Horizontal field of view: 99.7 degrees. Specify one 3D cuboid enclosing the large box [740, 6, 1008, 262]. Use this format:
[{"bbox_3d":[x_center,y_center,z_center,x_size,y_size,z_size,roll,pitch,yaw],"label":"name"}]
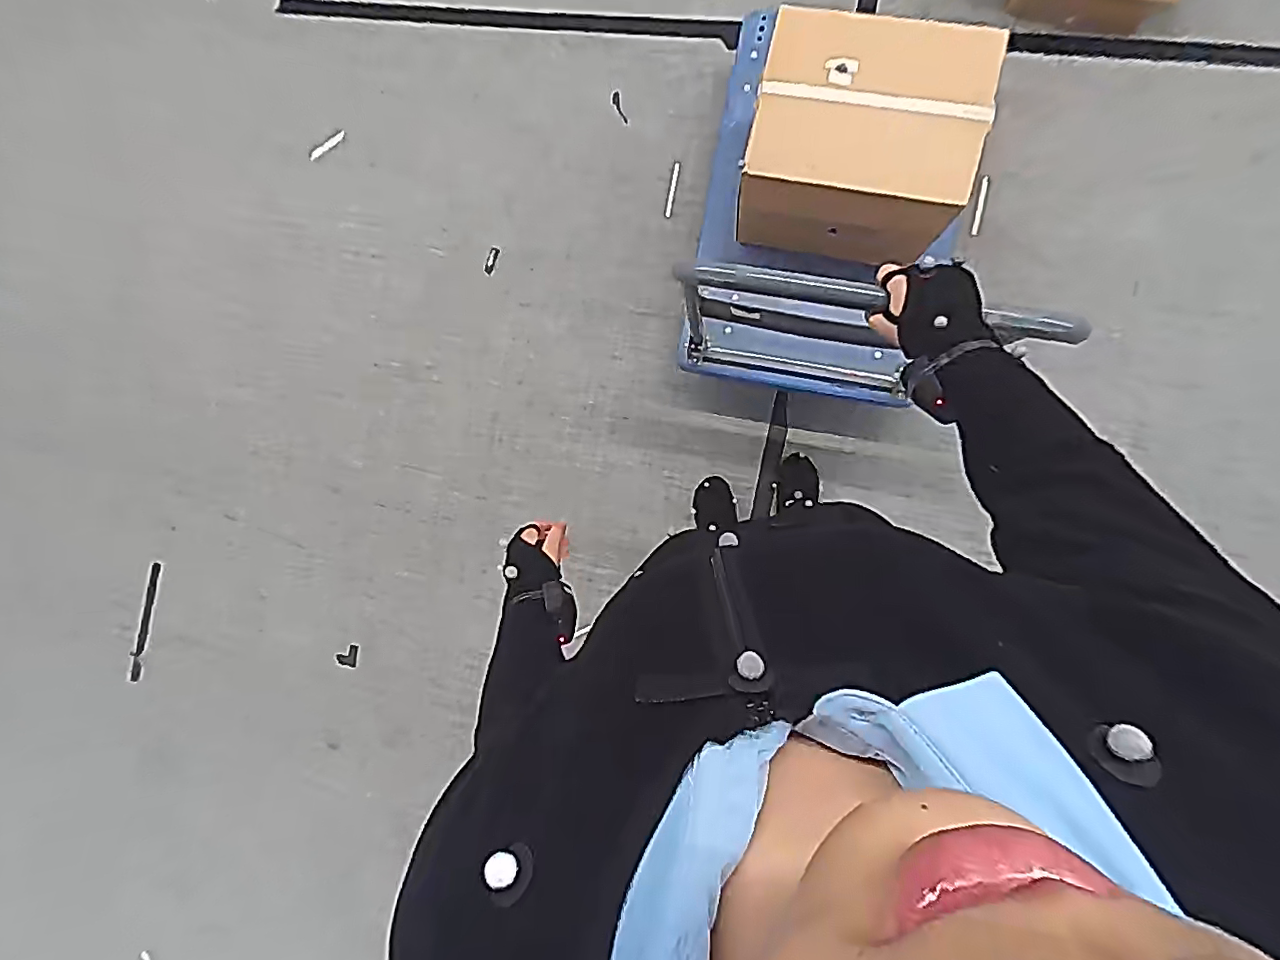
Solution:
[{"bbox_3d":[0.436,-0.678,1.108,0.408,0.320,0.320,13,91,9],"label":"large box"}]
